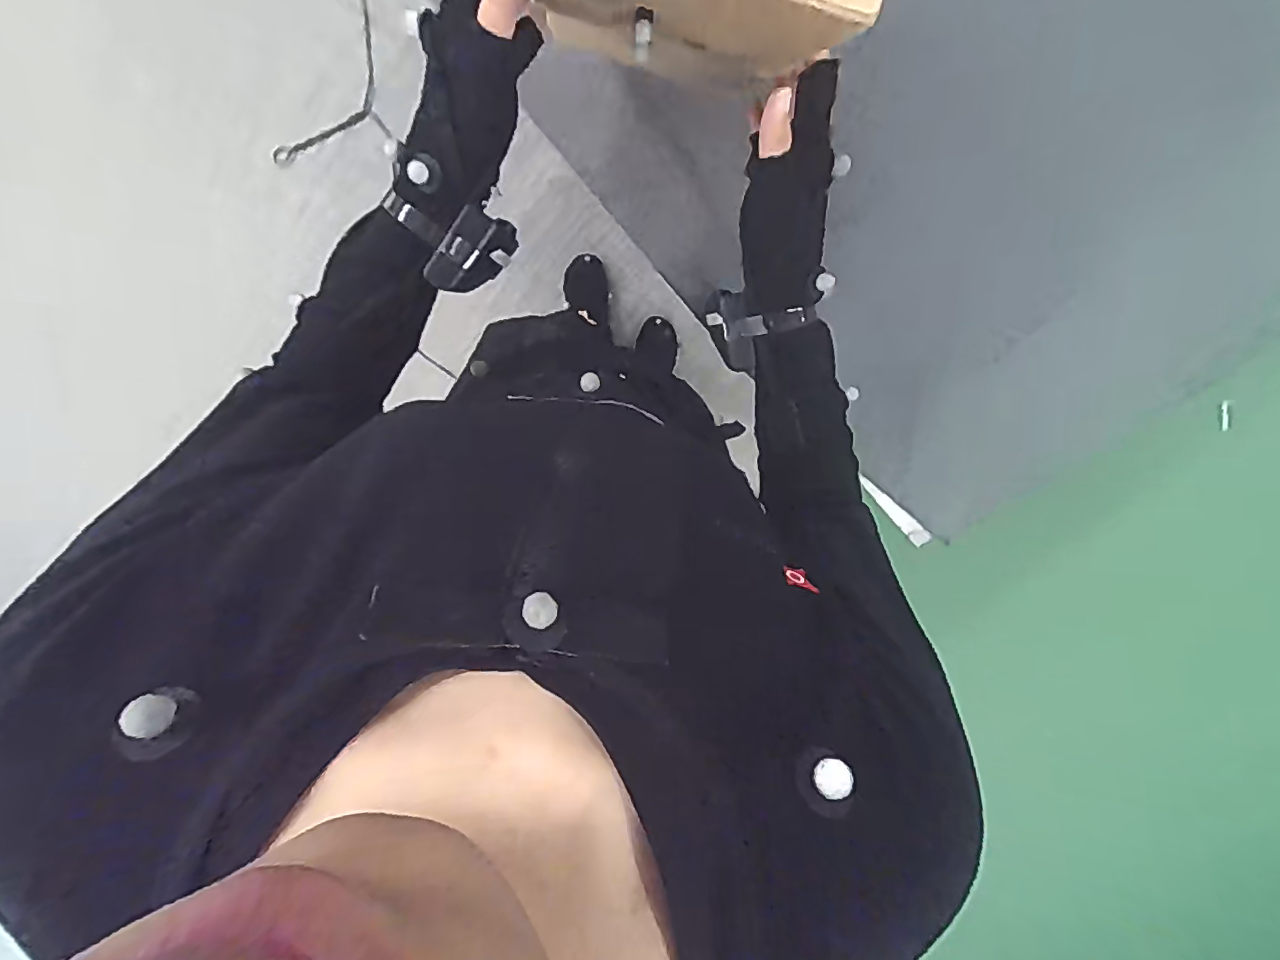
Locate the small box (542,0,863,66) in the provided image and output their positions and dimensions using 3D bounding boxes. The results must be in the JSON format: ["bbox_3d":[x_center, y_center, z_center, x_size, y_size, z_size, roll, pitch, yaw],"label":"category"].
[{"bbox_3d":[0.028,-0.325,0.248,0.168,0.176,0.179,9,120,-9],"label":"small box"}]

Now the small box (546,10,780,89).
[{"bbox_3d":[0.026,-0.406,0.389,0.179,0.176,0.168,10,119,-10],"label":"small box"}]
